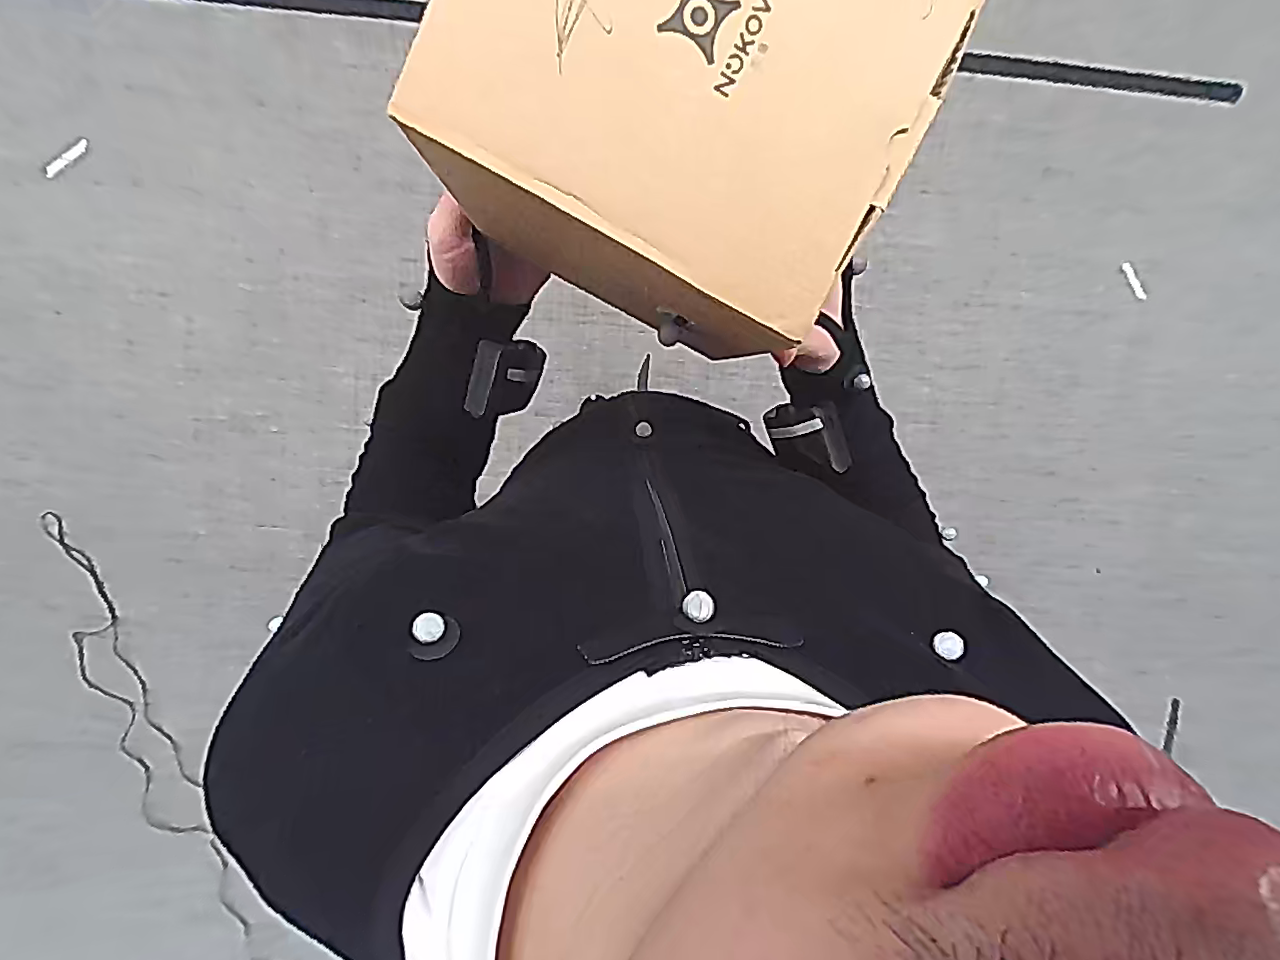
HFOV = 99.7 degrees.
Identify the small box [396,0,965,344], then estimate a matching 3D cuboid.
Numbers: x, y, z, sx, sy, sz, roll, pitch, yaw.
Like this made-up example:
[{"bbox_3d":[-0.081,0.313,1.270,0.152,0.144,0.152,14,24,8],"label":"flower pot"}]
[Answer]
[{"bbox_3d":[0.014,-0.183,0.283,0.179,0.176,0.168,26,96,-8],"label":"small box"}]
